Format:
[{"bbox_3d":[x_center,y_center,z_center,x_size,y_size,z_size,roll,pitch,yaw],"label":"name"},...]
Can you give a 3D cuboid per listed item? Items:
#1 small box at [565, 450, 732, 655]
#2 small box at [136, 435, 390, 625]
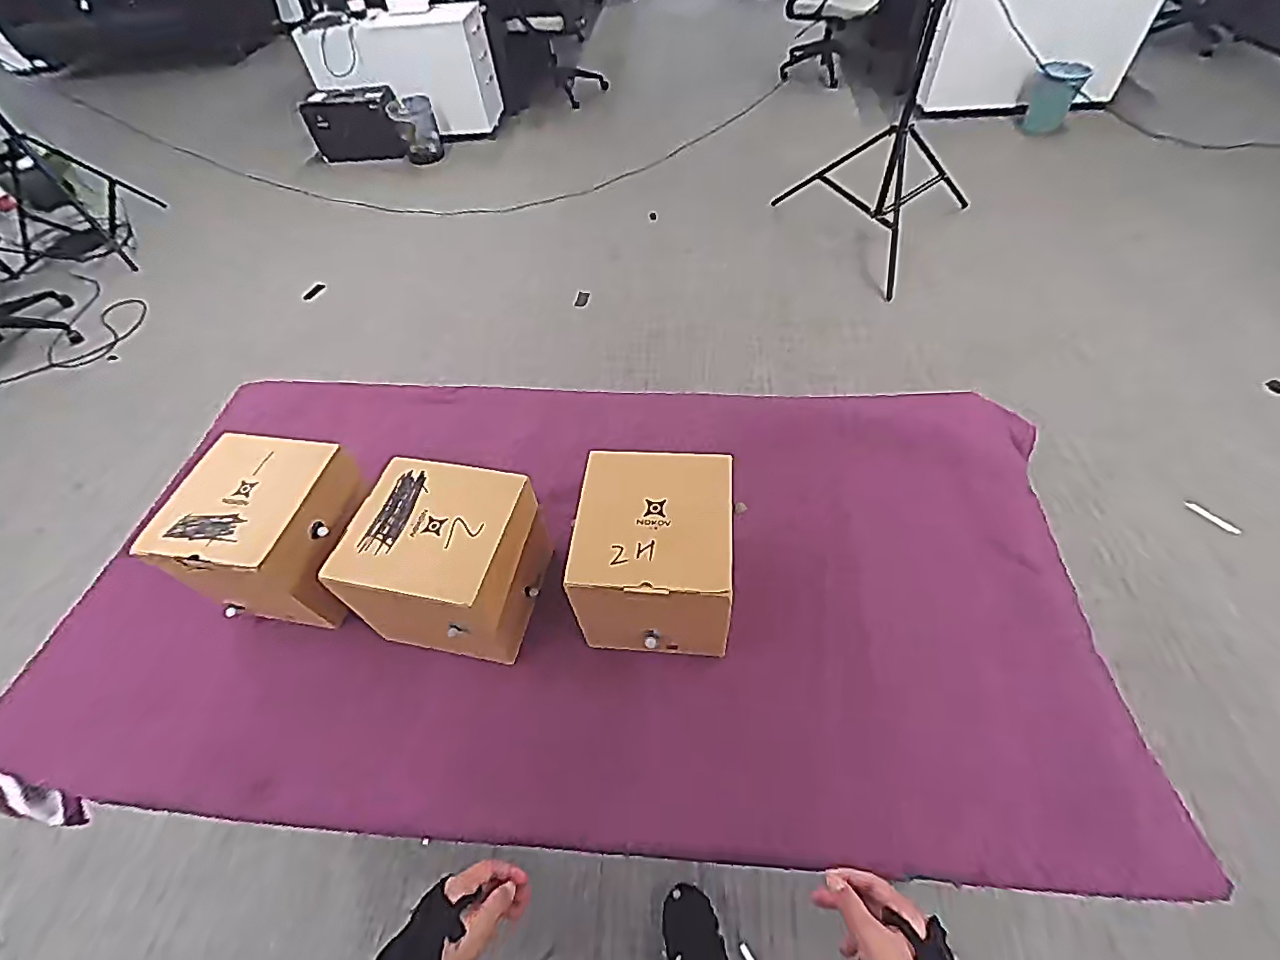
[{"bbox_3d":[0.019,0.086,0.638,0.168,0.176,0.179,2,52,7],"label":"small box"},{"bbox_3d":[-0.456,0.068,0.693,0.168,0.176,0.179,6,53,9],"label":"small box"}]
